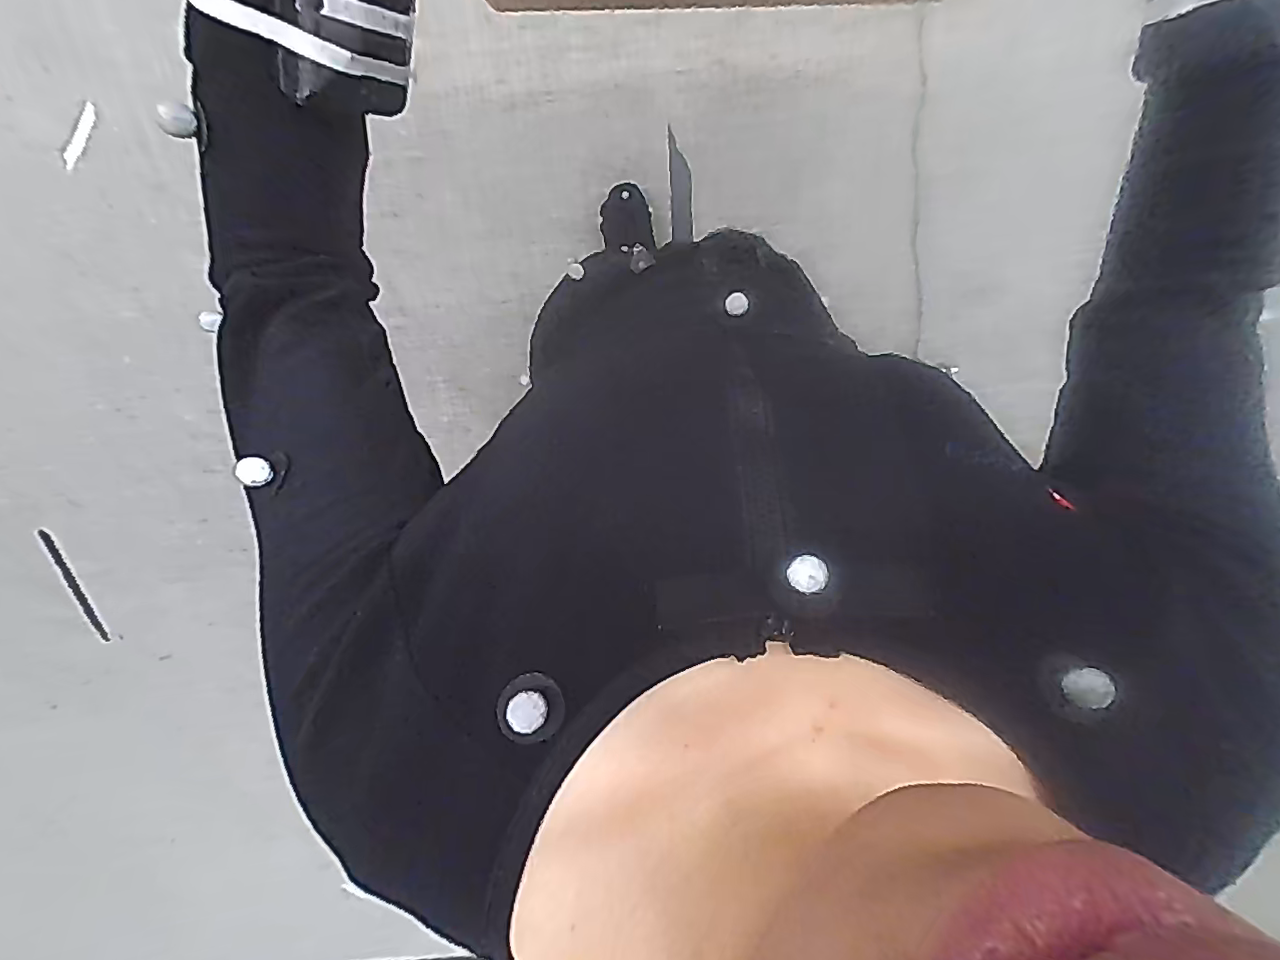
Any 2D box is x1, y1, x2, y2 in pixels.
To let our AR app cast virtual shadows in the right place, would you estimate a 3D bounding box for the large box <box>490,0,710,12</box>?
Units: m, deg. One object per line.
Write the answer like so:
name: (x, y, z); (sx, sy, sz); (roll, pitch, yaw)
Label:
large box: (0.063, -0.493, 0.284); (0.408, 0.320, 0.320); (-3, 119, -1)
